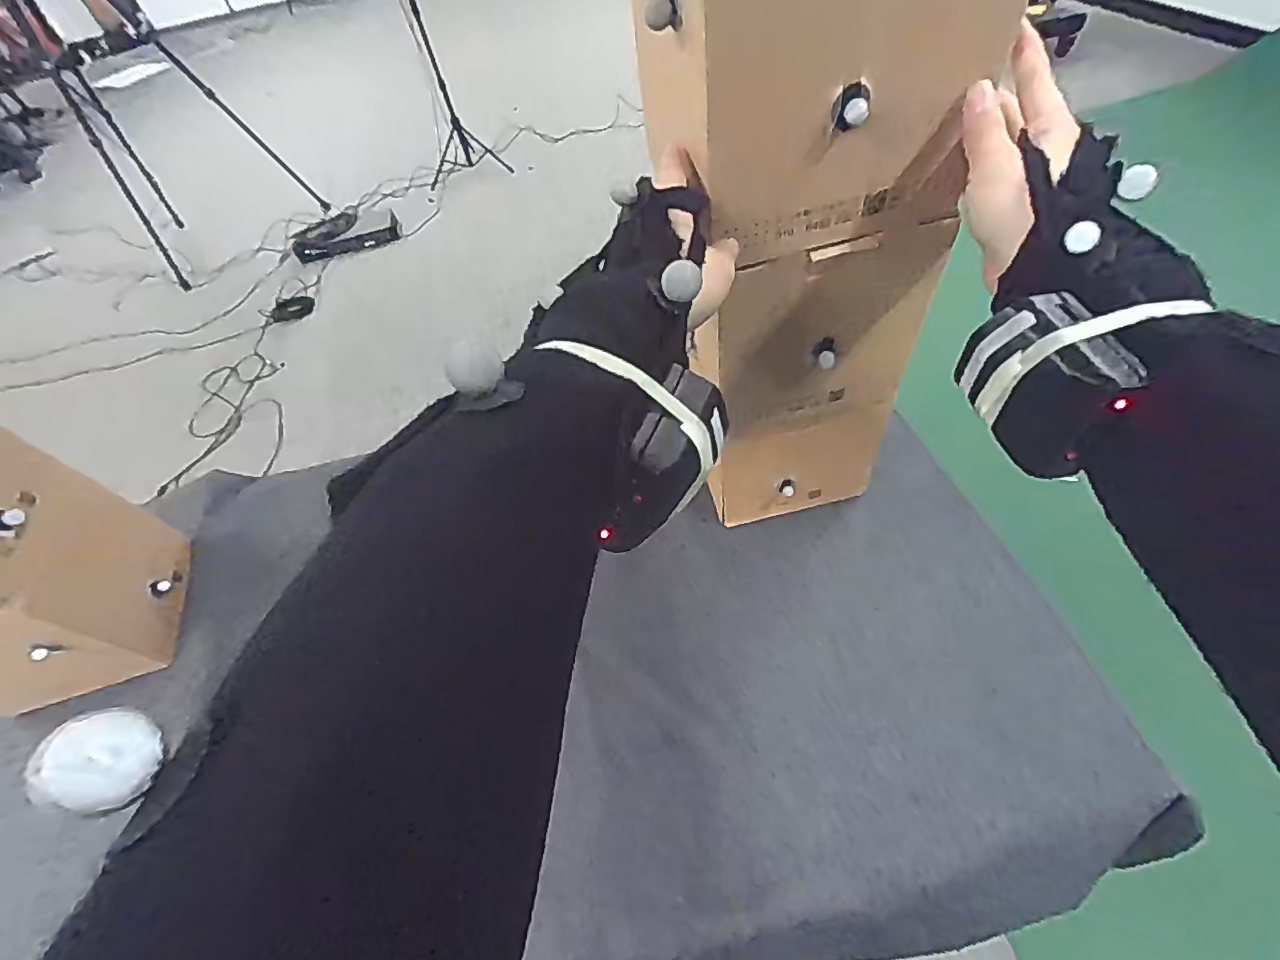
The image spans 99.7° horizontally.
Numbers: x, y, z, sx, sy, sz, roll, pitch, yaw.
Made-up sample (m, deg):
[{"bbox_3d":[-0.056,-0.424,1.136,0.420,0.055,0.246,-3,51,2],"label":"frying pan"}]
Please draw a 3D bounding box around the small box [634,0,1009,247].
[{"bbox_3d":[0.095,-0.264,0.328,0.168,0.176,0.179,-15,54,-2],"label":"small box"}]

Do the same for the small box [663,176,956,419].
[{"bbox_3d":[0.123,-0.171,0.463,0.168,0.176,0.179,-13,55,0],"label":"small box"}]

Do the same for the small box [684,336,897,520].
[{"bbox_3d":[0.147,-0.082,0.598,0.168,0.176,0.179,-14,54,-1],"label":"small box"}]
